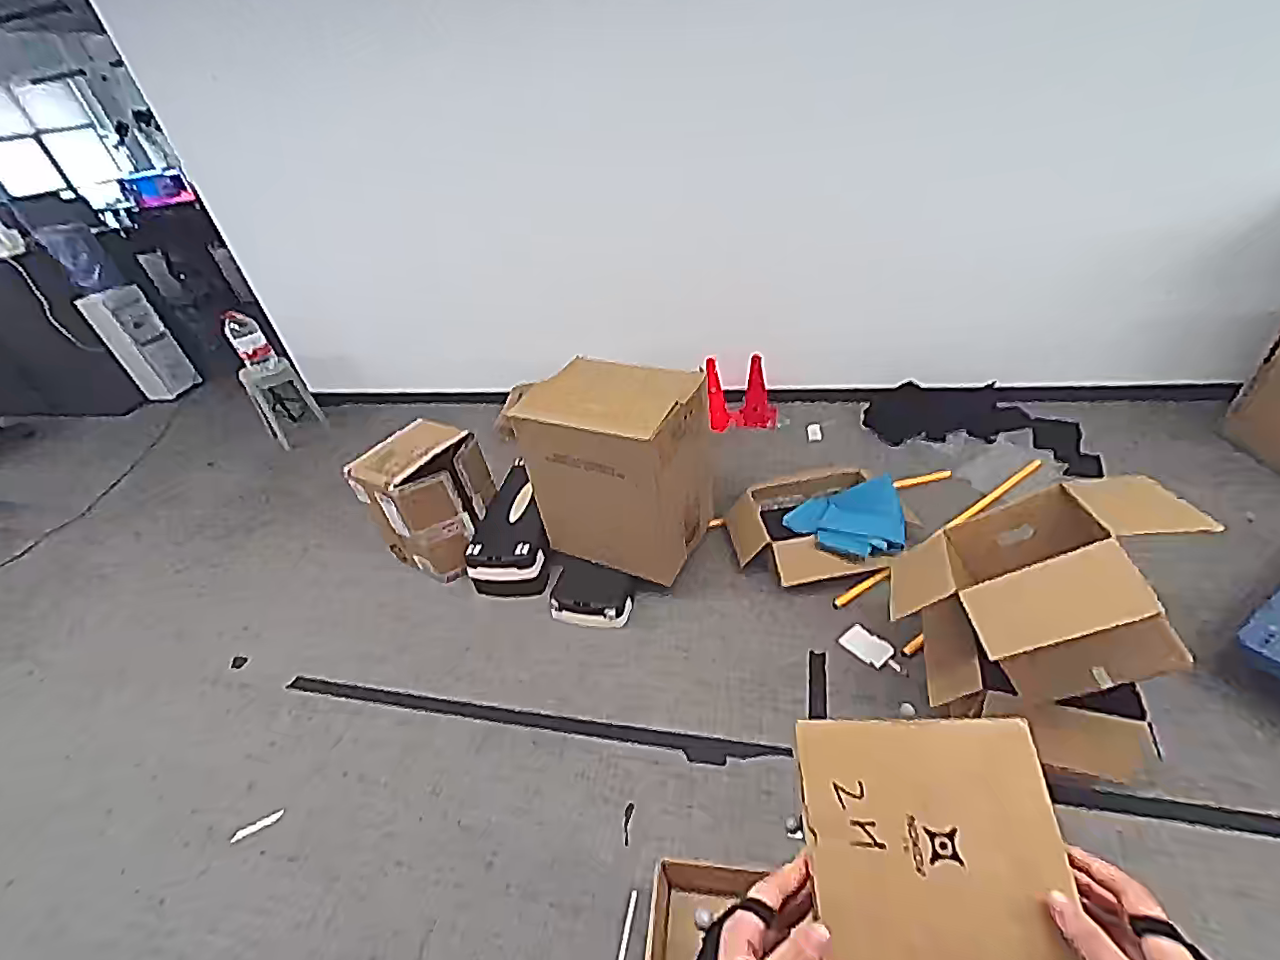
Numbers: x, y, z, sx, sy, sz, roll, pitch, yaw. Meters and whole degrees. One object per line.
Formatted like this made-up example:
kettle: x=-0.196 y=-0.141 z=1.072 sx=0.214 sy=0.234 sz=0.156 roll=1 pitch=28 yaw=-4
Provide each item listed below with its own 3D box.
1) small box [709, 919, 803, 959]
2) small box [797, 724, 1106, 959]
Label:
small box: x=0.205 y=0.979 z=1.013 sx=0.168 sy=0.176 sz=0.179 roll=7 pitch=39 yaw=18
small box: x=0.231 y=0.299 z=0.453 sx=0.179 sy=0.176 sz=0.168 roll=-5 pitch=61 yaw=13
